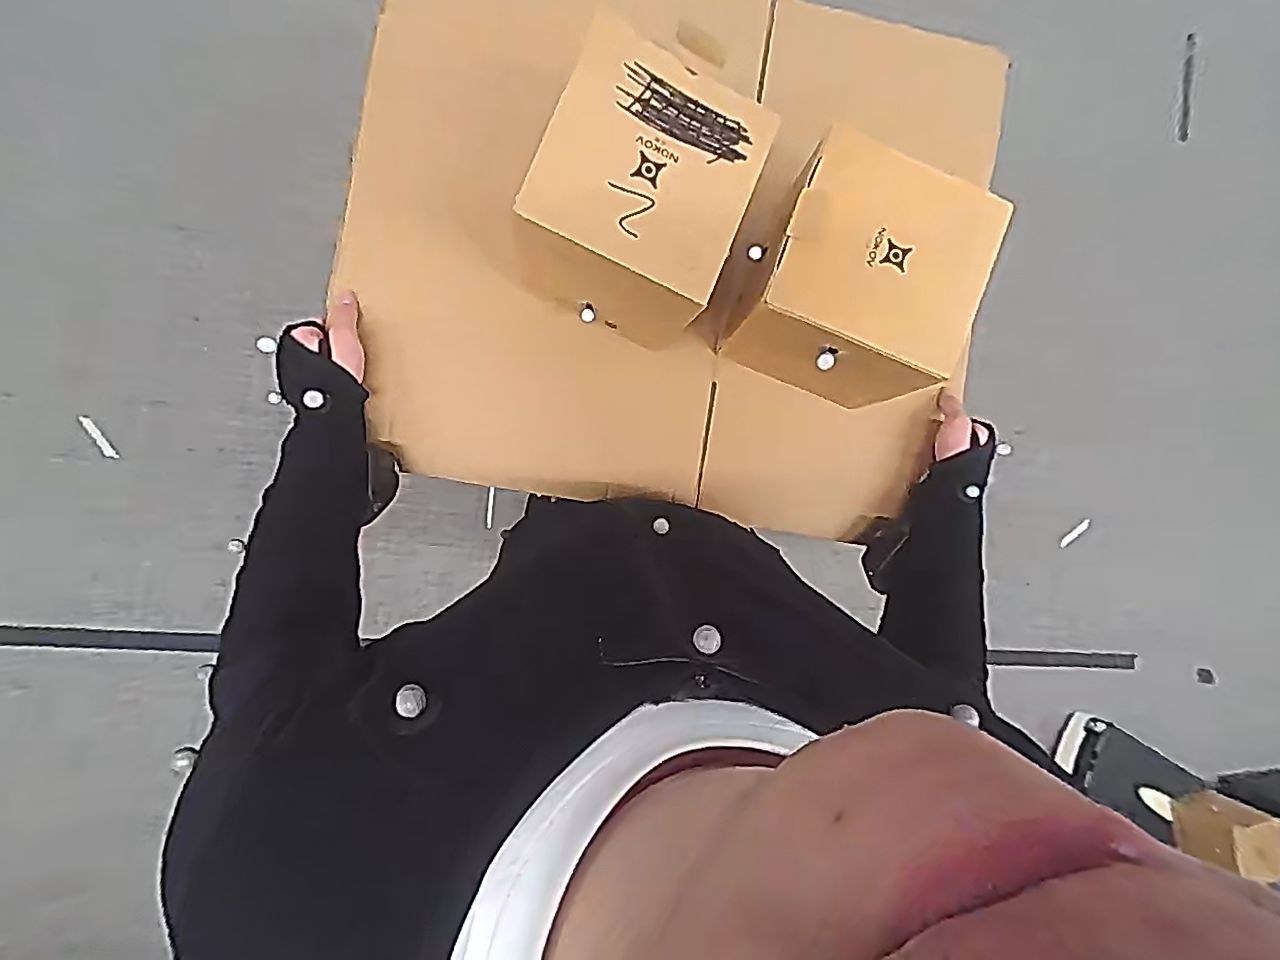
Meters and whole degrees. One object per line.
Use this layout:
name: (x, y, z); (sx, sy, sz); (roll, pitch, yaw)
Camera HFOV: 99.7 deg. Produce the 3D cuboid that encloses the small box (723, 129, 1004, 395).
small box: (0.205, -0.196, 0.545); (0.179, 0.176, 0.168); (22, 88, -3)
